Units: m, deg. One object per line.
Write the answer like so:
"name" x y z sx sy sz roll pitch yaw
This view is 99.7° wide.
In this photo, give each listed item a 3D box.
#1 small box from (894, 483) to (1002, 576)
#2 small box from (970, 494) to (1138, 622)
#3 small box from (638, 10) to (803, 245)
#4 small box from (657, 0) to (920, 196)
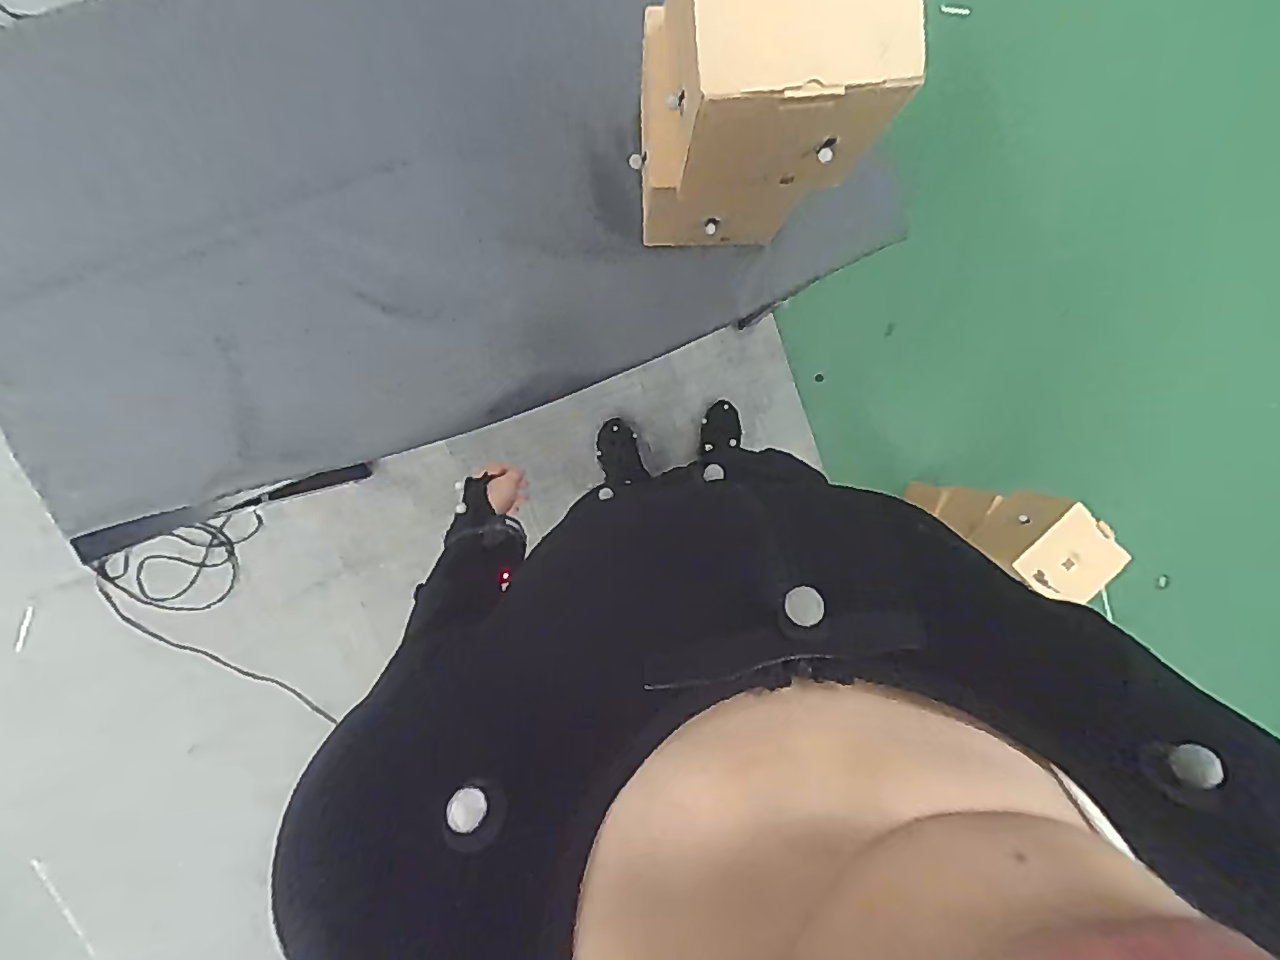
"small box" 0.806 0.124 1.430 0.168 0.176 0.179 24 95 -4
"small box" 0.828 0.148 1.102 0.168 0.176 0.179 44 94 -5
"small box" 0.083 -0.379 0.613 0.168 0.176 0.179 -1 94 -1
"small box" 0.107 -0.359 0.452 0.168 0.176 0.179 -6 95 -1
